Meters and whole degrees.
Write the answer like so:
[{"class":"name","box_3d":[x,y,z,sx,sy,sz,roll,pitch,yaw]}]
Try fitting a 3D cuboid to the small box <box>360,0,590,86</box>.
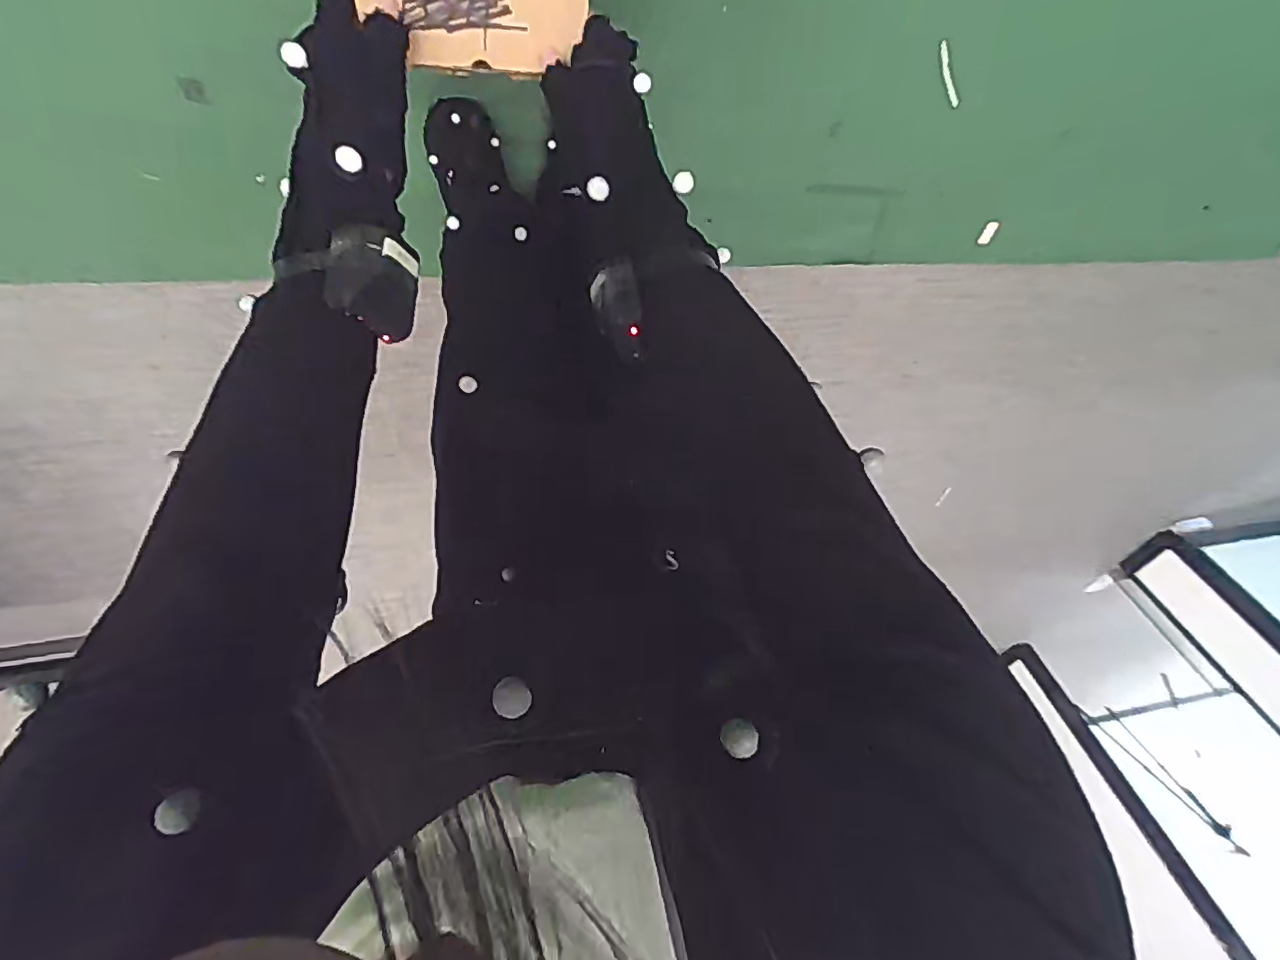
[{"class":"small box","box_3d":[-0.125,-0.430,0.416,0.168,0.176,0.179,-4,134,-10]}]
